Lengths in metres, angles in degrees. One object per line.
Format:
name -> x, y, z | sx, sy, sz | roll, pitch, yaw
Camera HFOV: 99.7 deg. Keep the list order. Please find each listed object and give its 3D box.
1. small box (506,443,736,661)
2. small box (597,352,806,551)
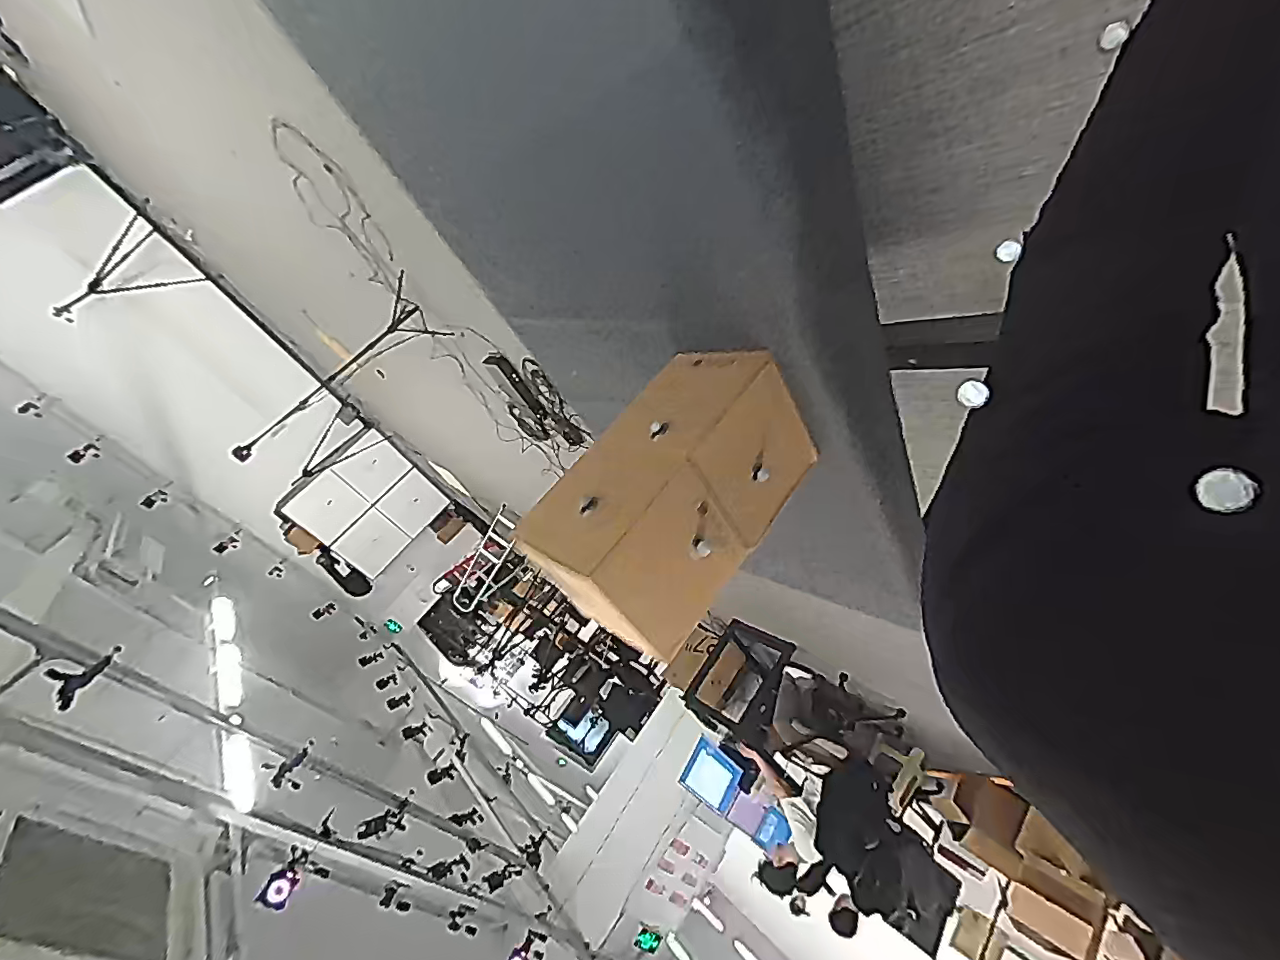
small box -> -0.019, 0.074, 0.644 | 0.179, 0.176, 0.168 | 15, 148, 50
small box -> 0.086, -0.042, 0.697 | 0.168, 0.176, 0.179 | 15, 148, 50
